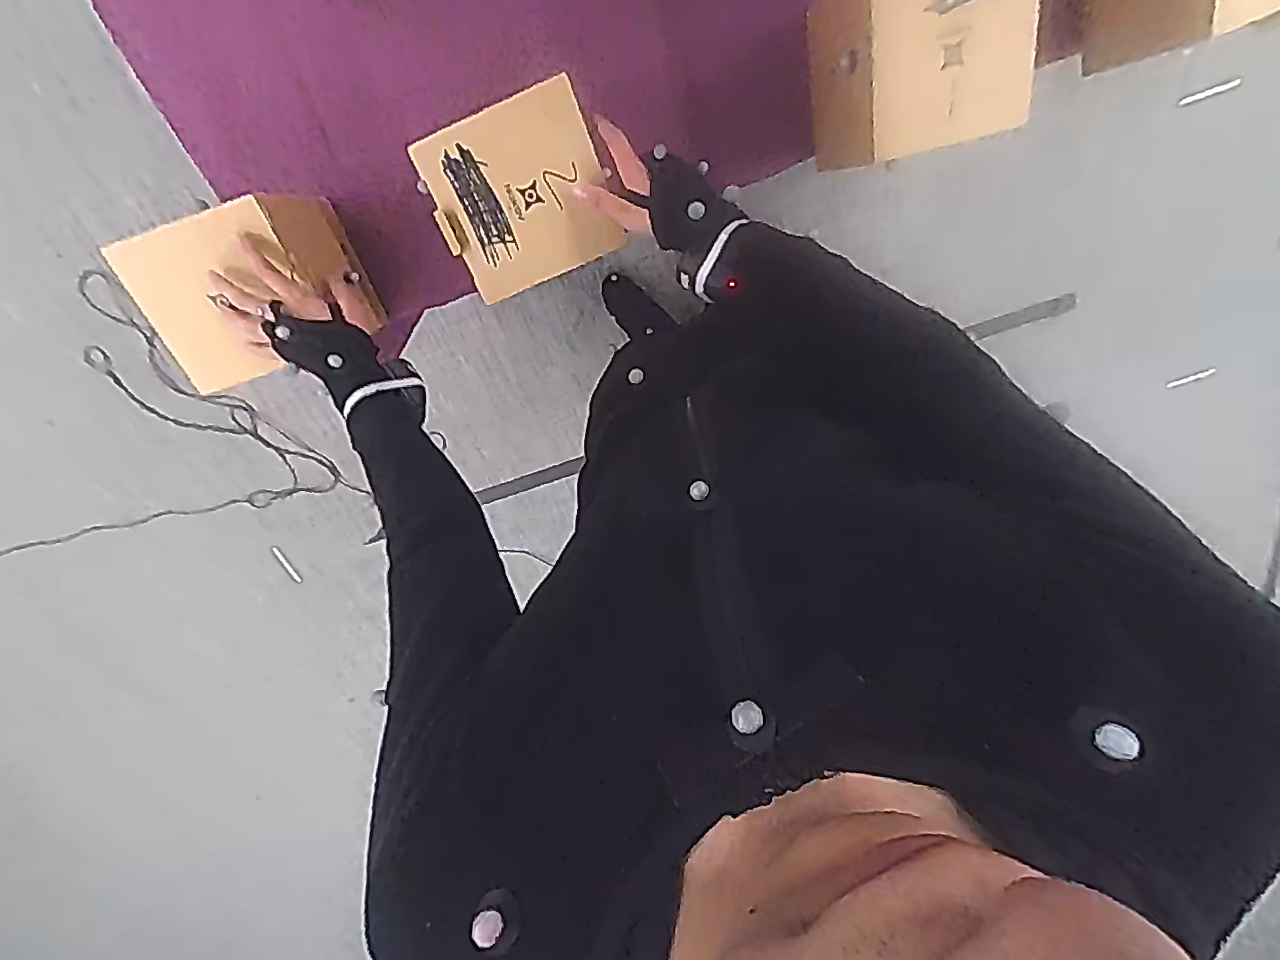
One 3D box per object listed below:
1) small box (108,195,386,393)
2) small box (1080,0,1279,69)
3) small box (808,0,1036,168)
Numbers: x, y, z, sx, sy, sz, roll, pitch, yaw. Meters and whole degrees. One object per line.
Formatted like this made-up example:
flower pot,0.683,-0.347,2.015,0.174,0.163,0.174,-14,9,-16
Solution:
small box,-0.447,-0.226,0.653,0.179,0.176,0.168,-18,116,3
small box,0.609,-0.580,0.568,0.168,0.176,0.179,-20,116,6
small box,0.297,-0.466,0.599,0.168,0.176,0.179,-14,118,2
